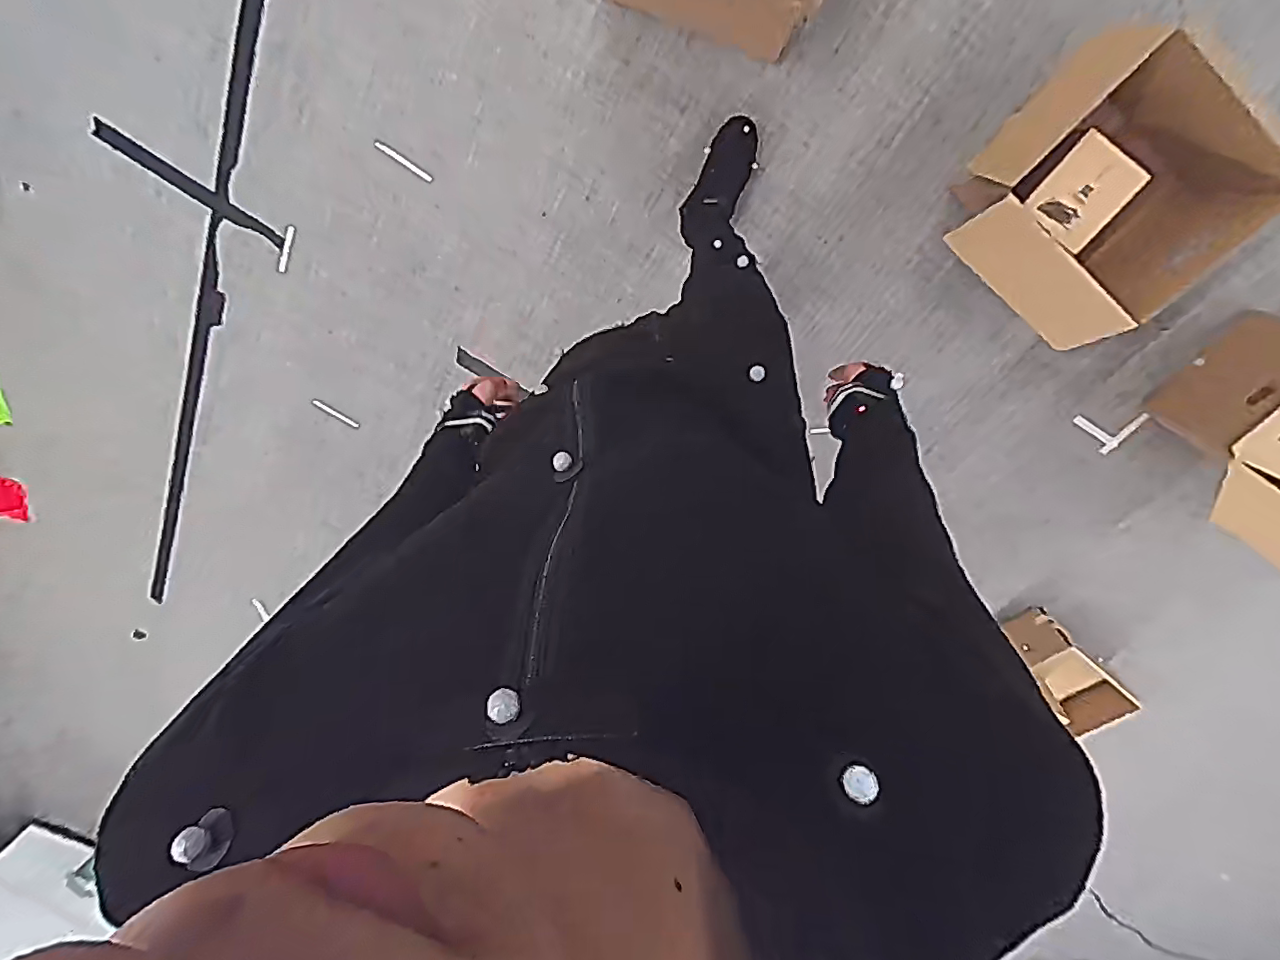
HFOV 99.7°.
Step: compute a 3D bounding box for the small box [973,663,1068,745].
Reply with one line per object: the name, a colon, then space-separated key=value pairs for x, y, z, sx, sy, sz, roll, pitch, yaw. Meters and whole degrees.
small box: x=1.284 y=0.755 z=1.841 sx=0.179 sy=0.176 sz=0.168 roll=32 pitch=119 yaw=-10
